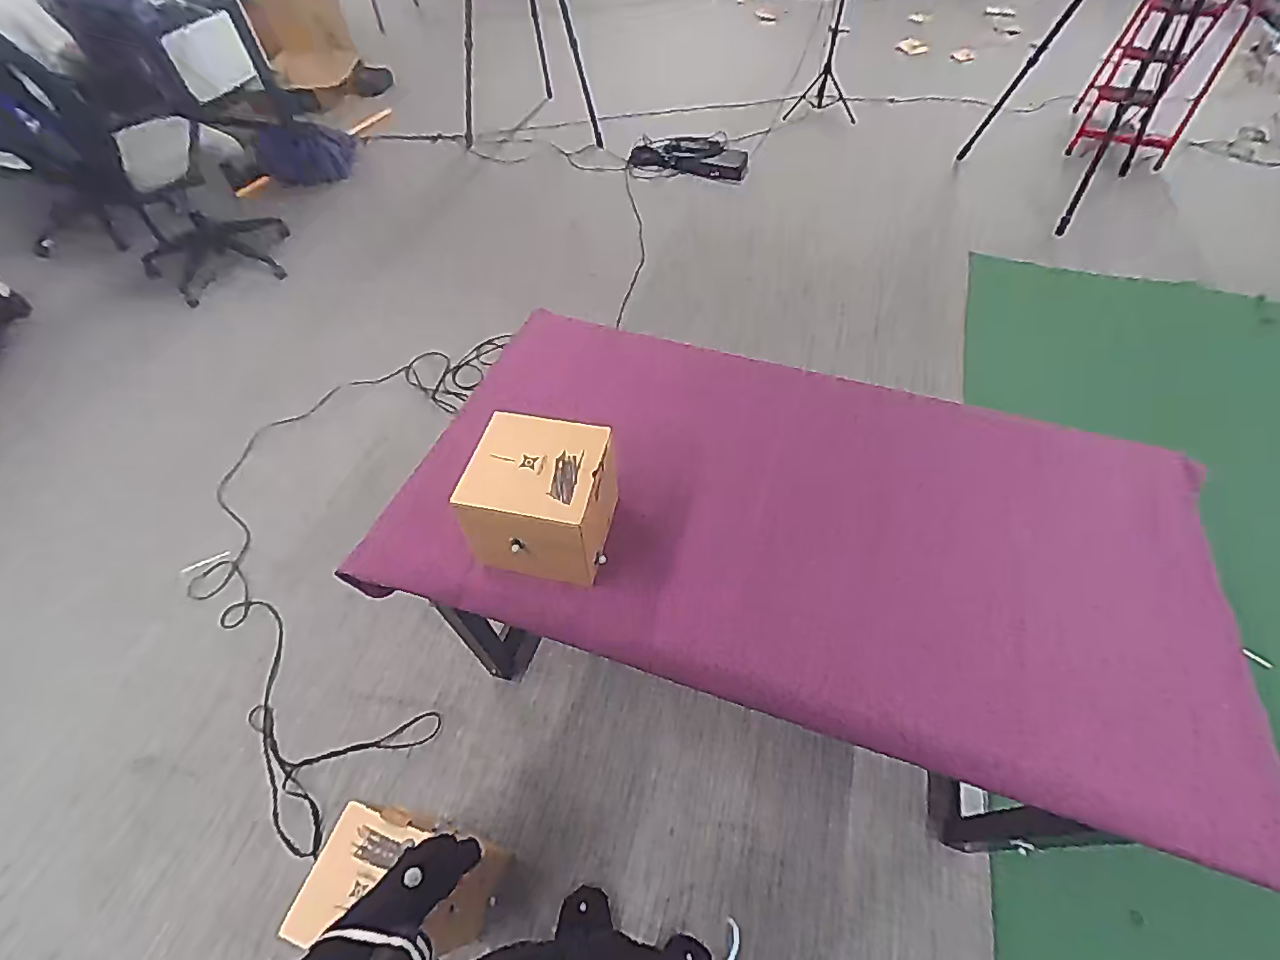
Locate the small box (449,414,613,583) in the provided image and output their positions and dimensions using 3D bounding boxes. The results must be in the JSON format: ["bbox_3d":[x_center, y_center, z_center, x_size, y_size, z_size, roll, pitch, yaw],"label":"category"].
[{"bbox_3d":[-0.141,0.032,0.784,0.179,0.176,0.168,10,54,8],"label":"small box"}]
